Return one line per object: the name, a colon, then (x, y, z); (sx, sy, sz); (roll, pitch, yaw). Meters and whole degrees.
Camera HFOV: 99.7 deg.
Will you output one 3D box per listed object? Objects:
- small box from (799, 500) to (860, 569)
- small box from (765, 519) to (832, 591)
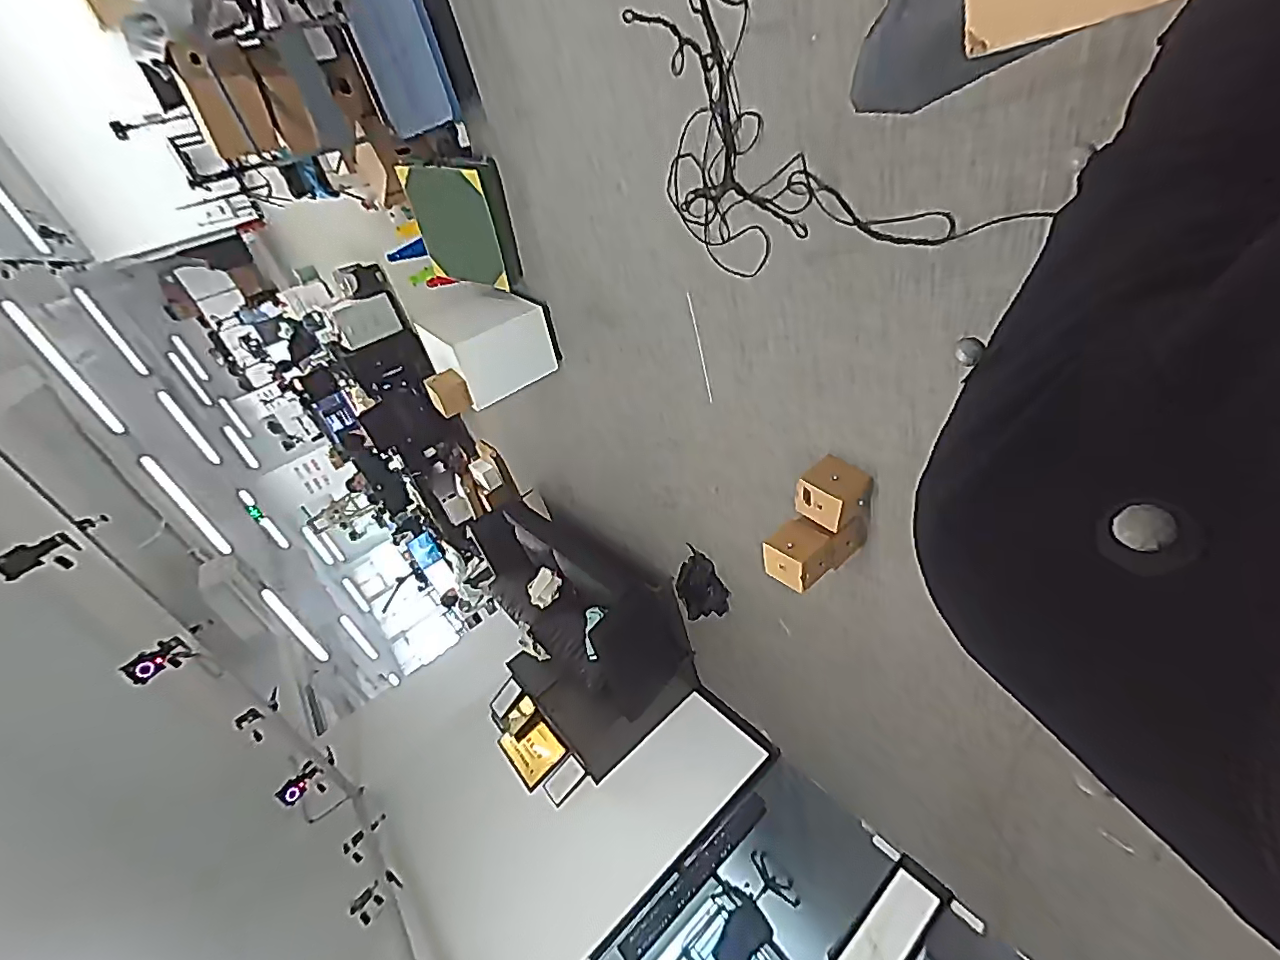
small box: (0.720, 0.201, 2.067); (0.179, 0.176, 0.168); (28, 144, 44)
small box: (0.586, 0.270, 2.002); (0.179, 0.176, 0.168); (29, 144, 44)
